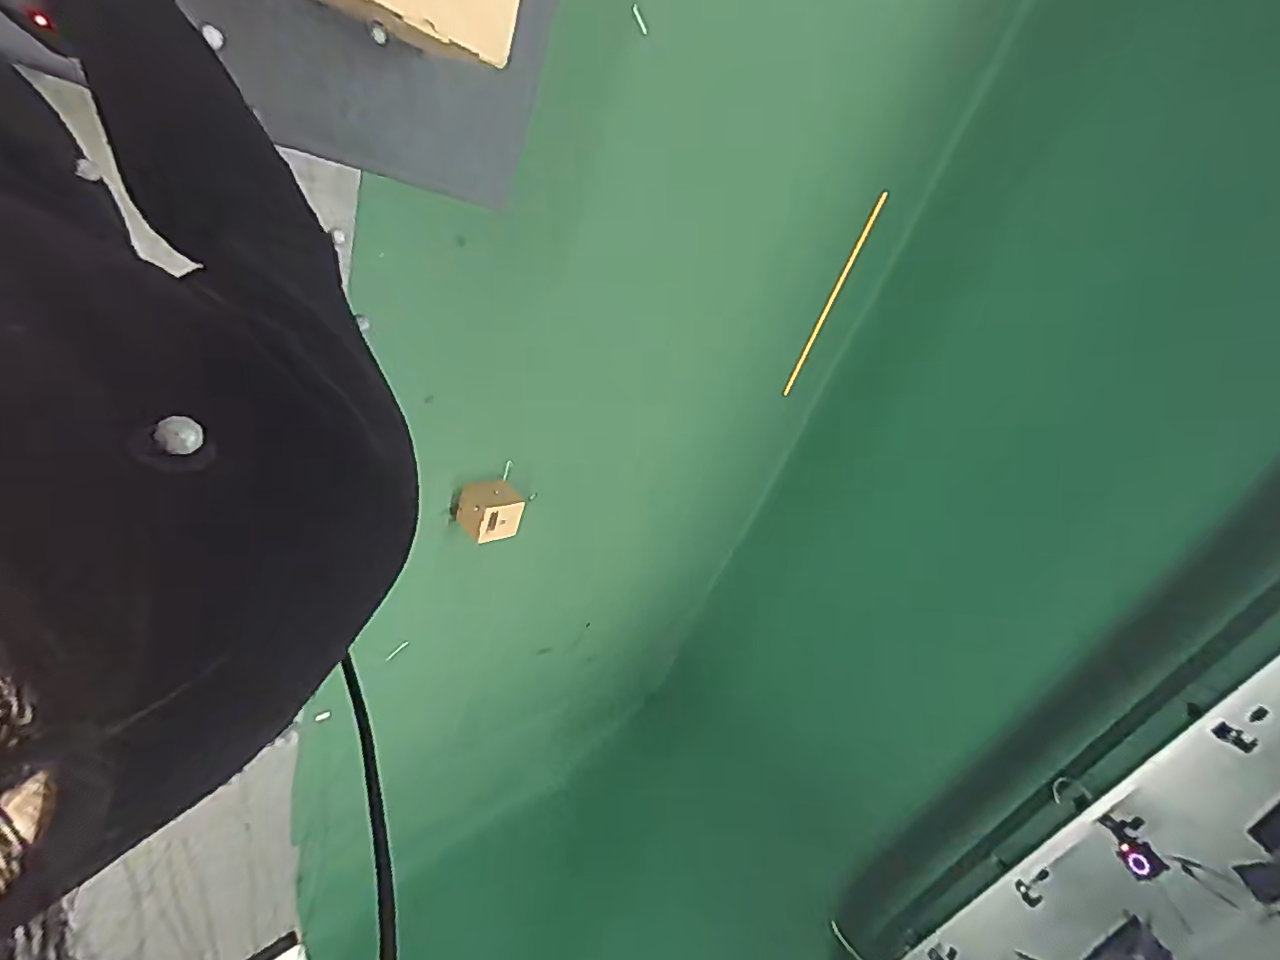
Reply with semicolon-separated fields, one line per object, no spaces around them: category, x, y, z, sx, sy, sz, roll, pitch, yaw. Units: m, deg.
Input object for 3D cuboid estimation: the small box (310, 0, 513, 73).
small box;-0.223;-0.518;0.494;0.168;0.176;0.179;-8;129;-46
